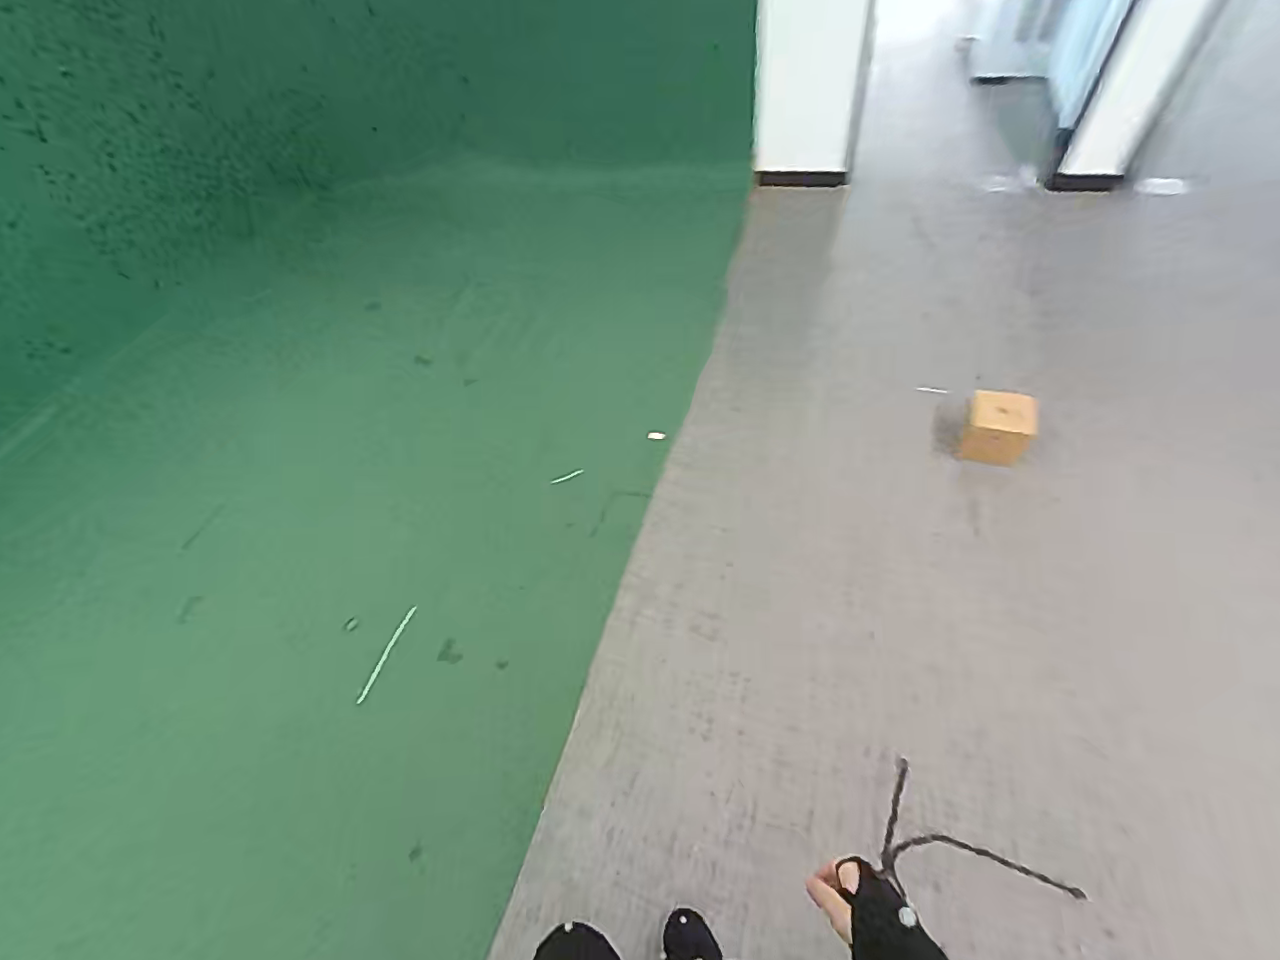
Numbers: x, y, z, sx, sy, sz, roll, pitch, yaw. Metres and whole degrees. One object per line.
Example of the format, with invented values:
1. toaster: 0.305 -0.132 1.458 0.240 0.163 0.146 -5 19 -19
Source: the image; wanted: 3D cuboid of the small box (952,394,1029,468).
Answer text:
1. small box: 1.158 -0.159 1.798 0.179 0.176 0.168 11 57 16
